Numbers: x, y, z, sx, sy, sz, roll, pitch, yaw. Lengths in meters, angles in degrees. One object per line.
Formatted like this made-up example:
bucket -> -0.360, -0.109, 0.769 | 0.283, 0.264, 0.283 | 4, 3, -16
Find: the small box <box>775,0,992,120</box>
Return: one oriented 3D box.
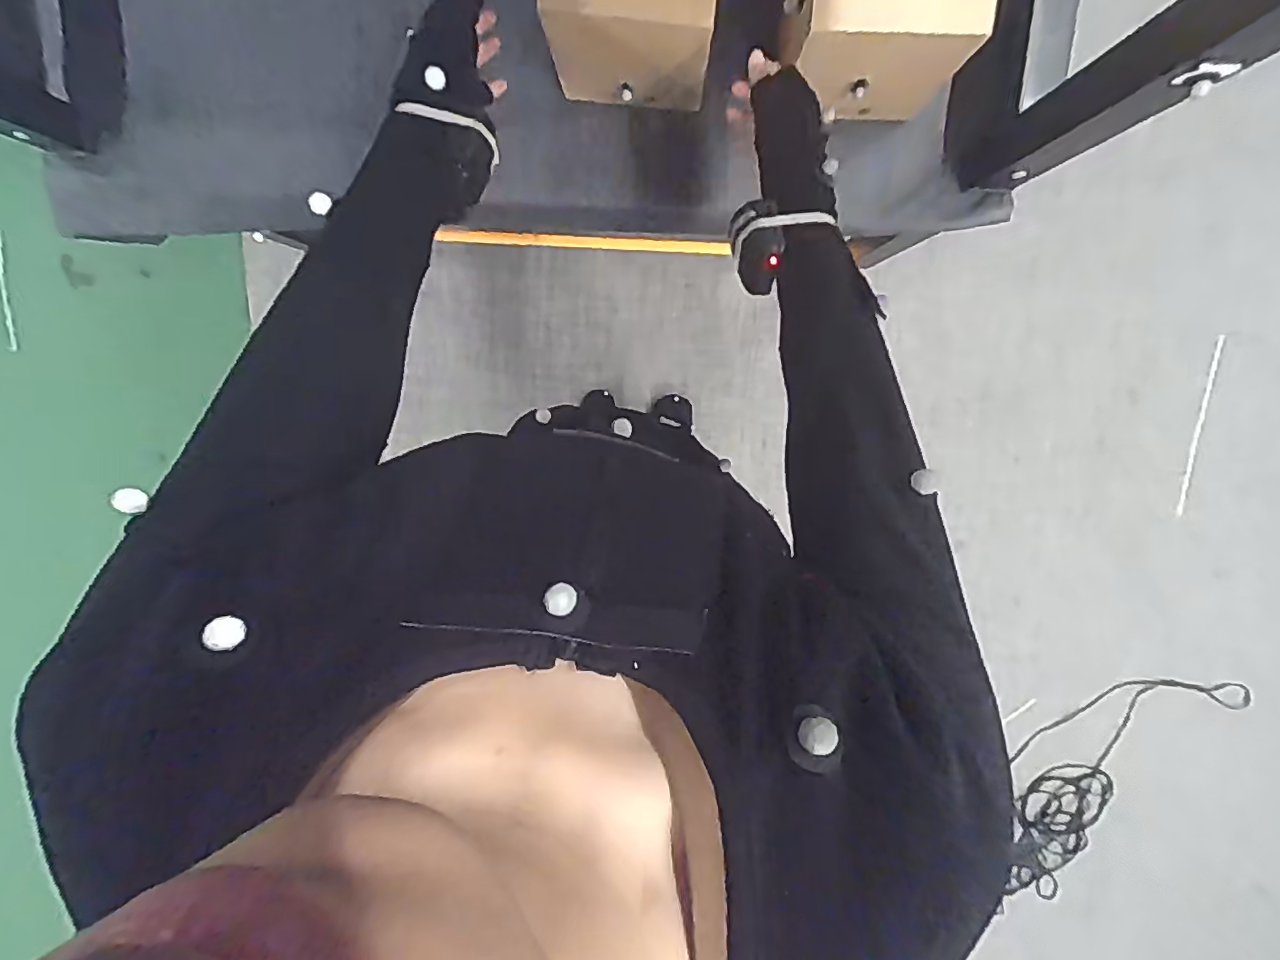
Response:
small box -> 0.242, -0.504, 0.560 | 0.168, 0.176, 0.179 | 3, 100, 1
